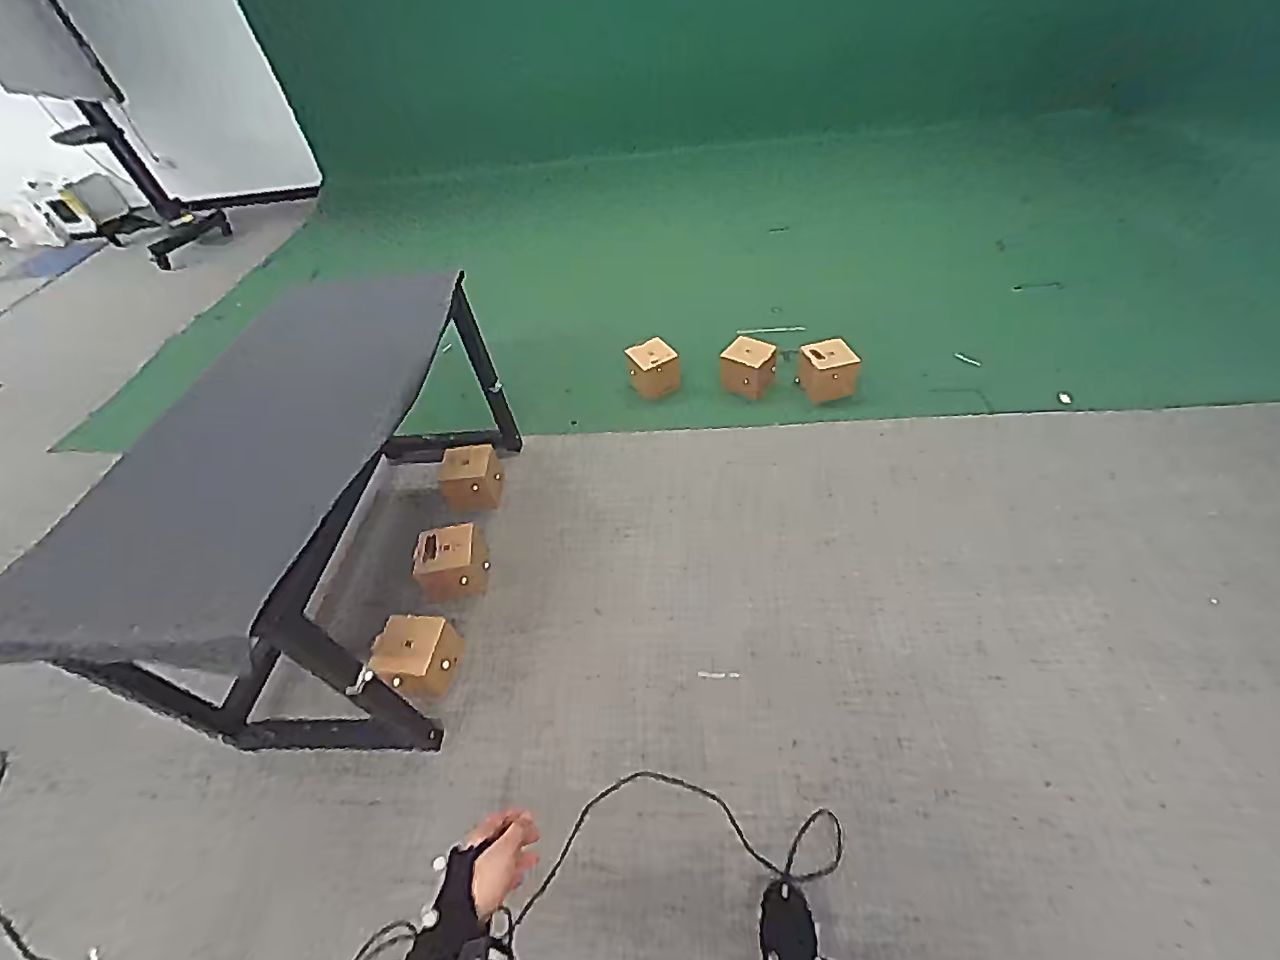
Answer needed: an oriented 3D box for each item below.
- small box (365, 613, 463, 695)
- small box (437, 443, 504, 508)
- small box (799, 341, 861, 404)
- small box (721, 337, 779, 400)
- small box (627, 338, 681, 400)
[{"bbox_3d":[-0.627,0.495,1.527,0.179,0.176,0.168,1,49,10],"label":"small box"},{"bbox_3d":[-0.611,-0.014,1.978,0.179,0.176,0.168,-5,47,3],"label":"small box"},{"bbox_3d":[0.749,-0.424,2.158,0.179,0.176,0.168,-13,48,-5],"label":"small box"},{"bbox_3d":[0.451,-0.455,2.229,0.179,0.176,0.168,26,56,29],"label":"small box"},{"bbox_3d":[0.061,-0.470,2.298,0.168,0.176,0.179,-26,49,-15],"label":"small box"}]
